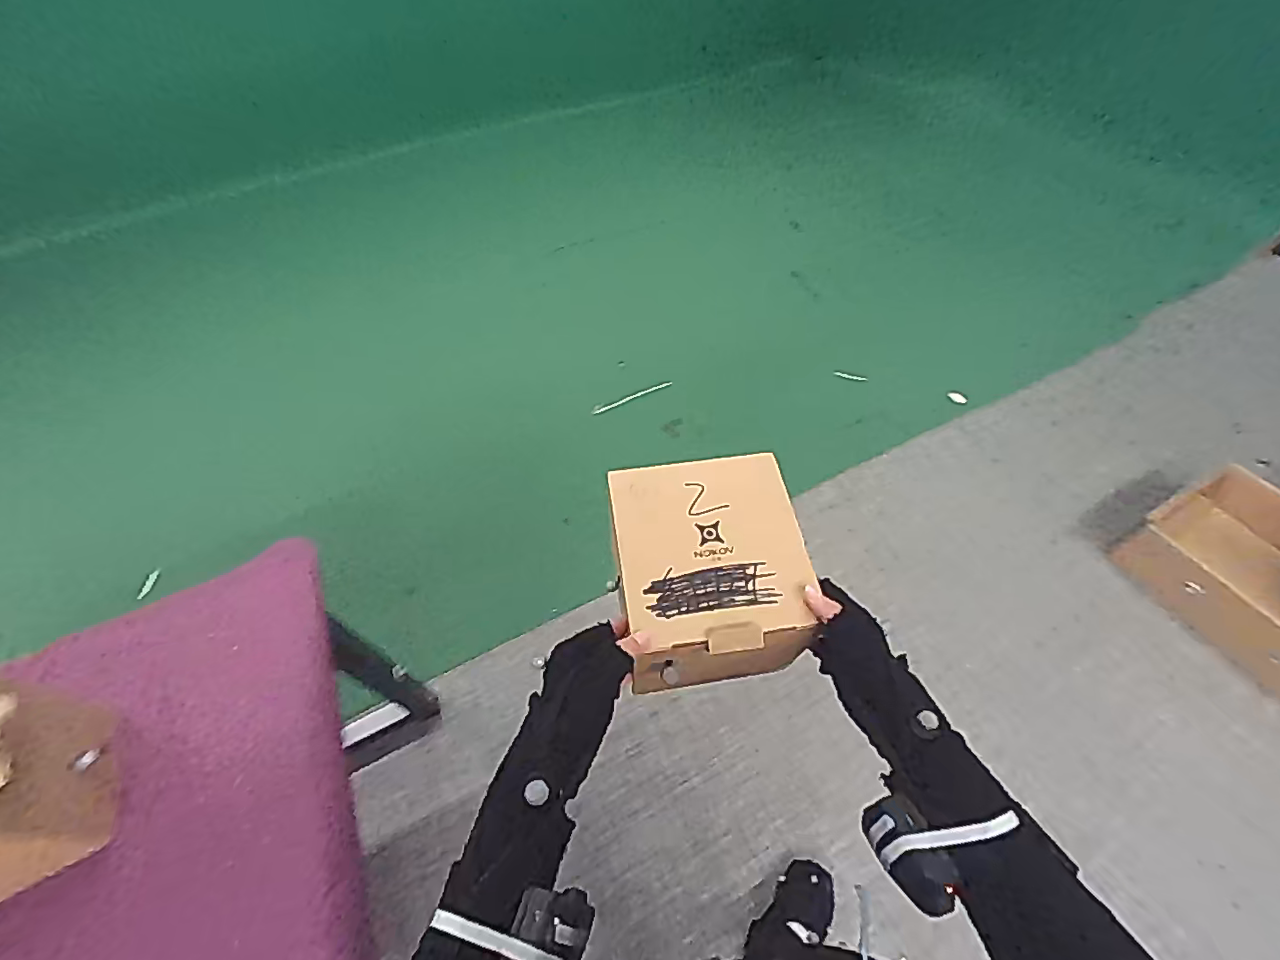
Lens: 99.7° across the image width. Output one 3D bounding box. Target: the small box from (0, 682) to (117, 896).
[{"bbox_3d":[-0.715,0.344,0.566,0.179,0.176,0.168,-26,59,-15],"label":"small box"}]
